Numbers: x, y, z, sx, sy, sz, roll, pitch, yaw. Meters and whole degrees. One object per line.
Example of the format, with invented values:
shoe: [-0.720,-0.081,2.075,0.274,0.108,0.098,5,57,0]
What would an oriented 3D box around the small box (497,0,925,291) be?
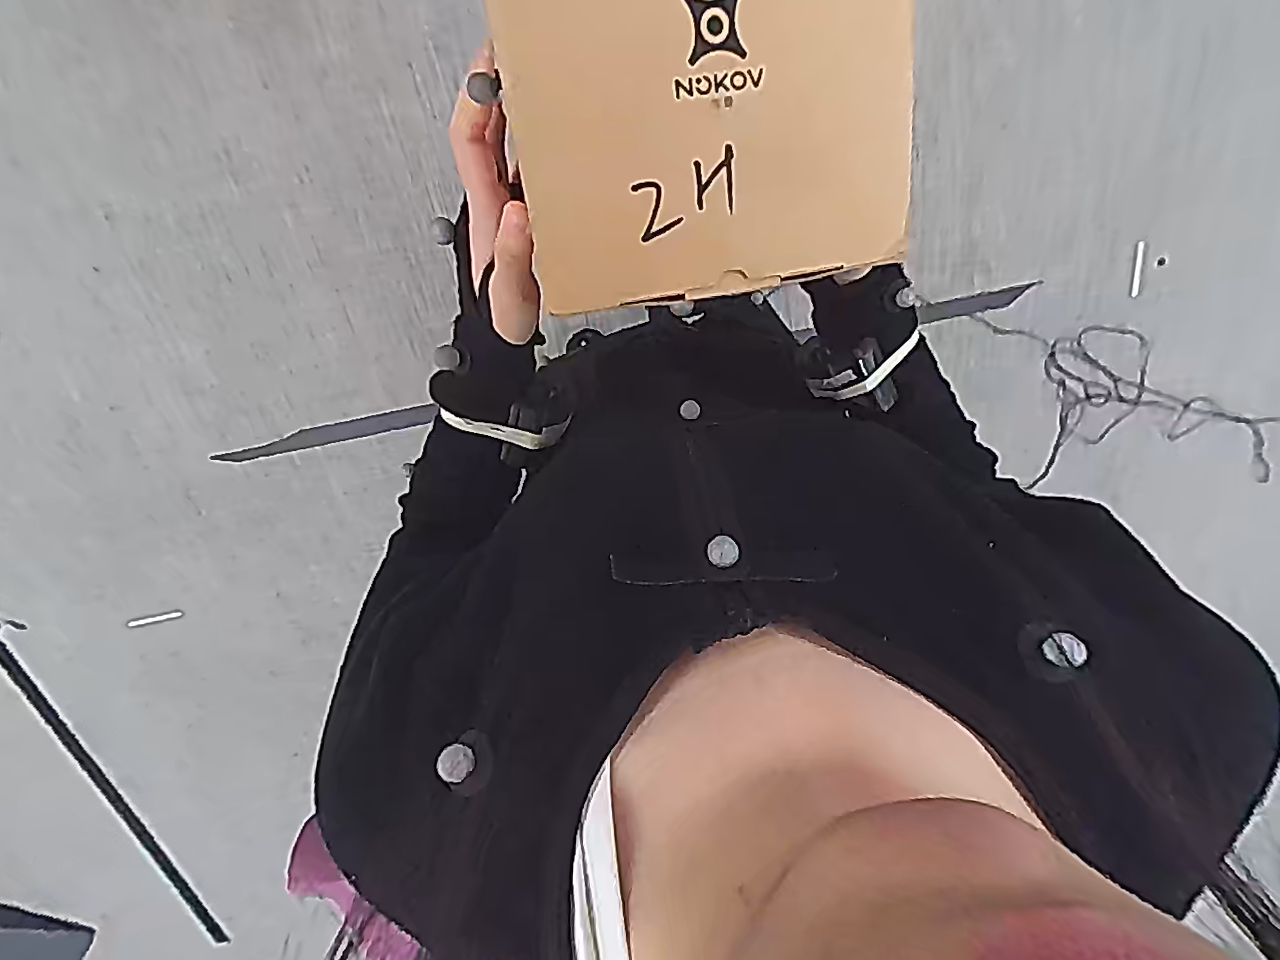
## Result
small box: [0.019,-0.200,0.280,0.168,0.176,0.179,-11,111,-4]
